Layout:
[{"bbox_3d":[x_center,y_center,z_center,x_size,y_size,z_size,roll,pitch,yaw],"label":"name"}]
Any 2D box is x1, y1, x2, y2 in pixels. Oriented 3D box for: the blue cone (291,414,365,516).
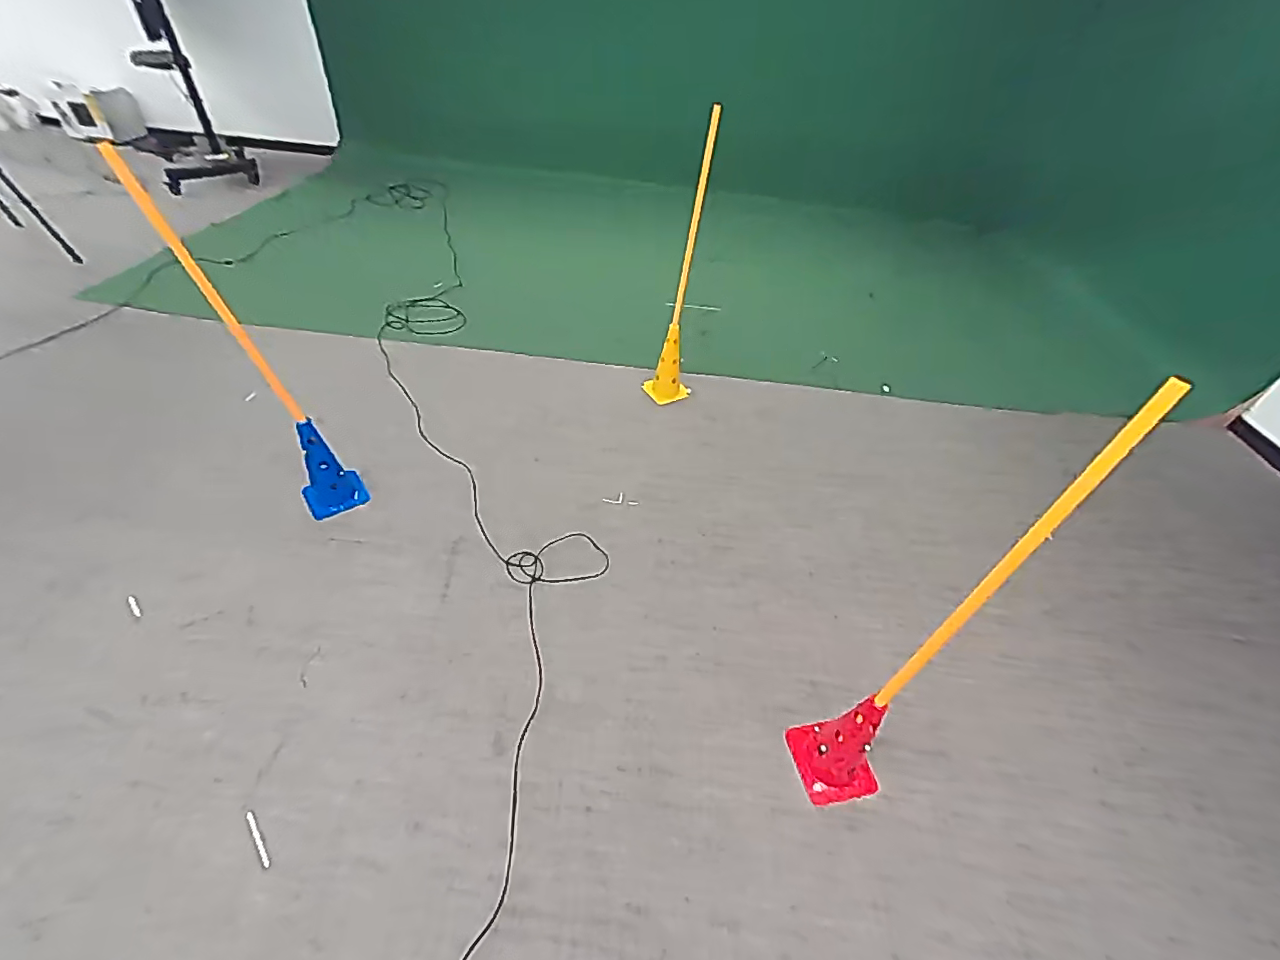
[{"bbox_3d":[-1.131,-0.068,1.895,0.193,0.380,0.192,-29,54,-29],"label":"blue cone"}]
